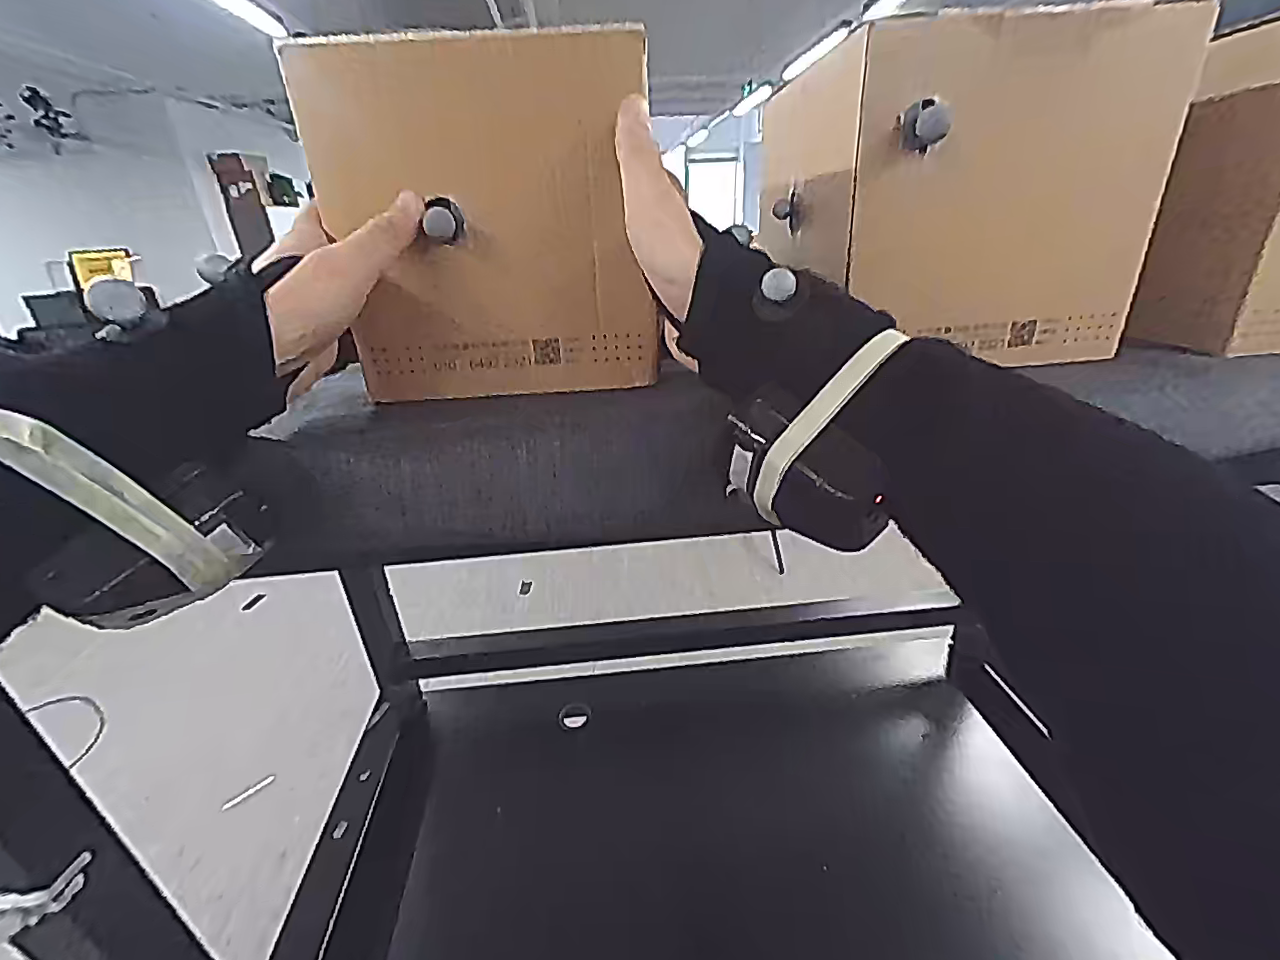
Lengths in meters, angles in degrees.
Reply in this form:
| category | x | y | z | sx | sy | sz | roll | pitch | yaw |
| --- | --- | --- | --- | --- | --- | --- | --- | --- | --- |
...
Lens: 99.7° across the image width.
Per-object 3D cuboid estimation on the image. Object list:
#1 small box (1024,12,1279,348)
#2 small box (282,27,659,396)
| category | x | y | z | sx | sy | sz | roll | pitch | yaw |
| --- | --- | --- | --- | --- | --- | --- | --- | --- | --- |
| small box | 0.403 | -0.188 | 0.360 | 0.168 | 0.176 | 0.179 | -5 | 25 | -2 |
| small box | -0.077 | -0.154 | 0.349 | 0.168 | 0.176 | 0.179 | -4 | 24 | -1 |
